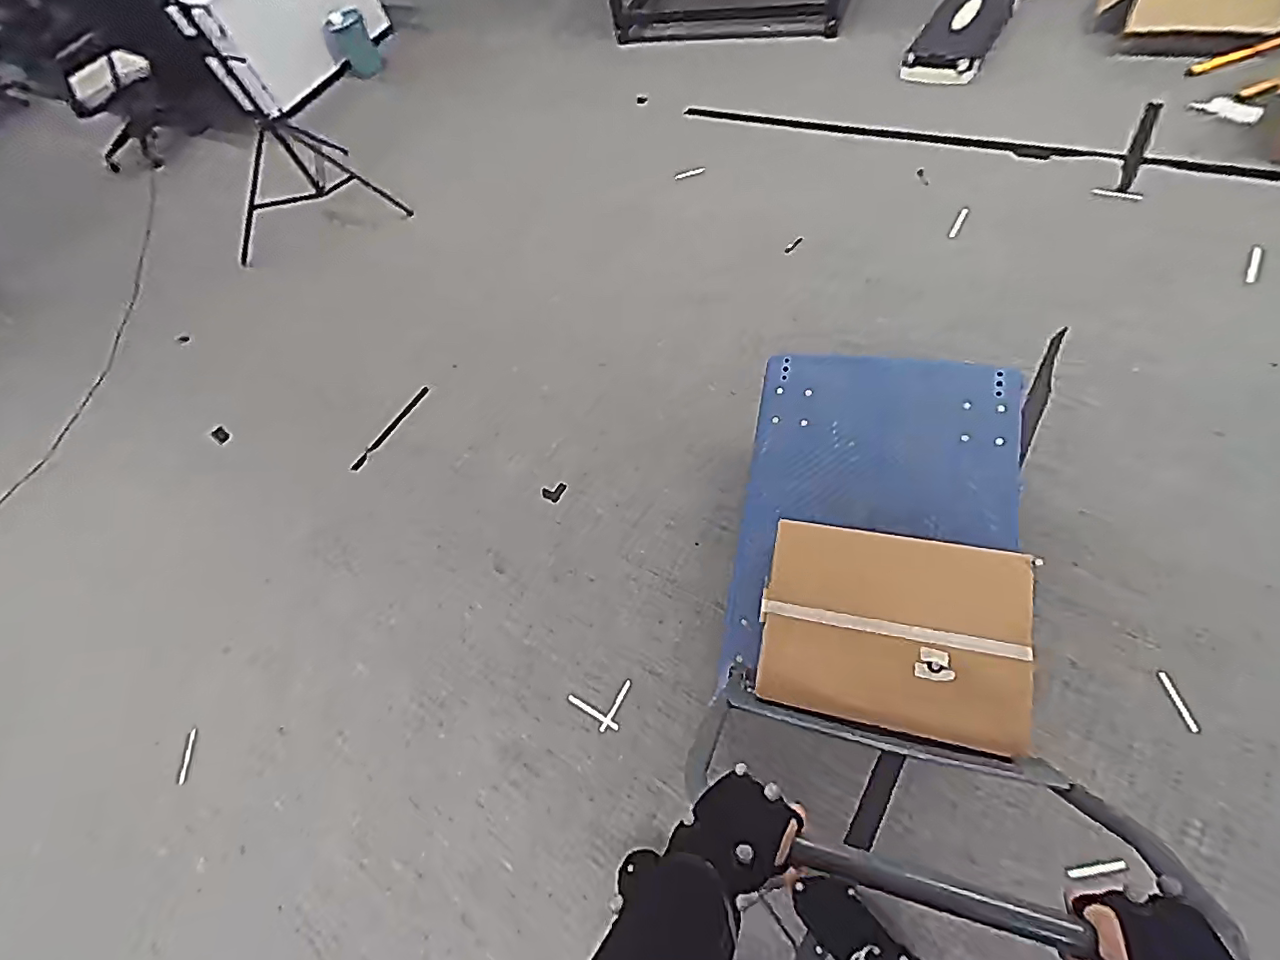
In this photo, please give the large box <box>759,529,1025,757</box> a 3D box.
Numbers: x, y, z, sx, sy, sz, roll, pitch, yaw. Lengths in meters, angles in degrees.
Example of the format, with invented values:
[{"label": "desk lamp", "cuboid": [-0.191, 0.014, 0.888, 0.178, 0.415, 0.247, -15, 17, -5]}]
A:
[{"label": "large box", "cuboid": [0.450, 0.296, 1.045, 0.408, 0.320, 0.320, 7, 77, 16]}]
